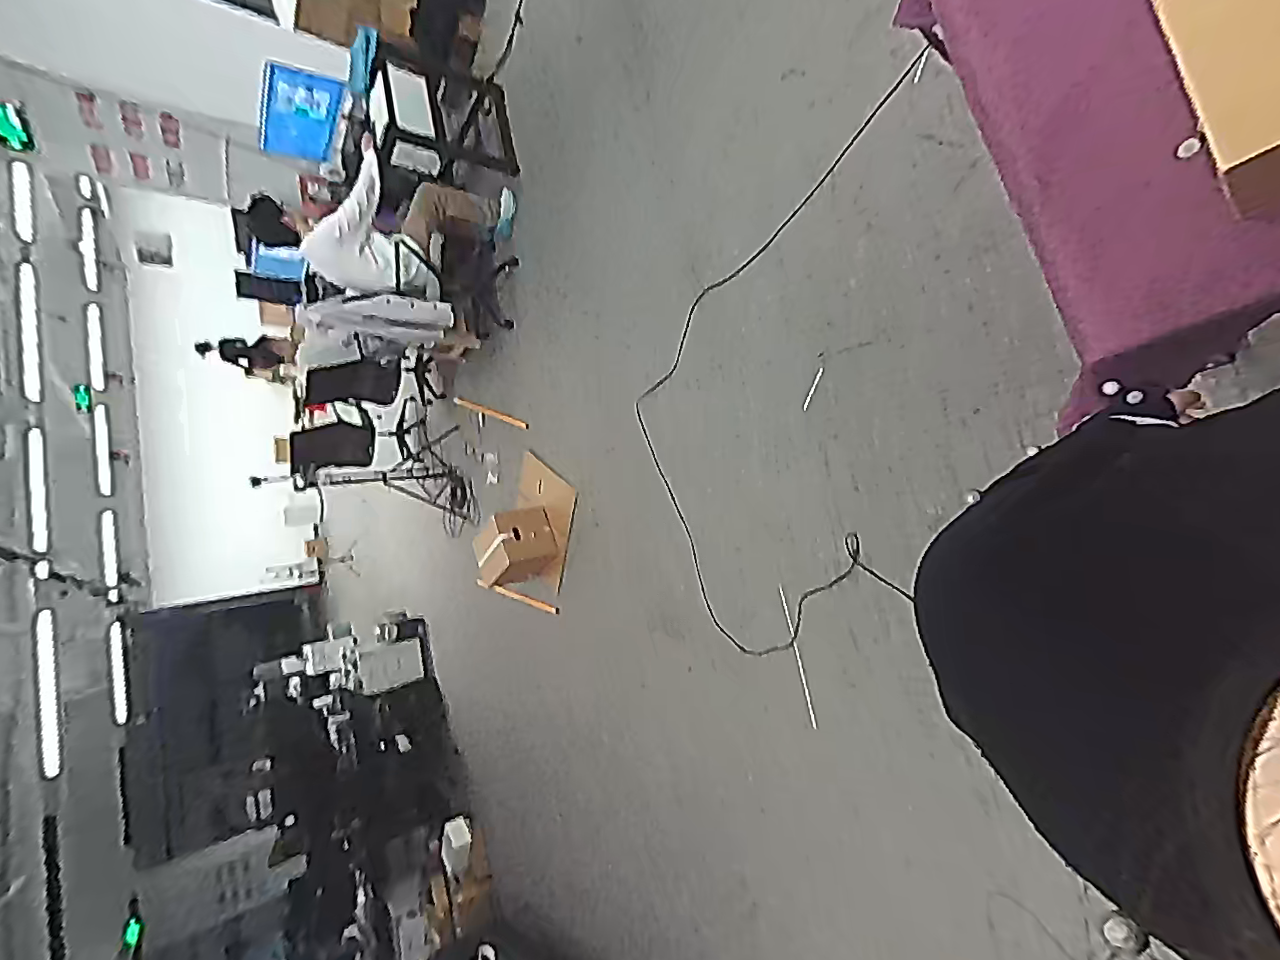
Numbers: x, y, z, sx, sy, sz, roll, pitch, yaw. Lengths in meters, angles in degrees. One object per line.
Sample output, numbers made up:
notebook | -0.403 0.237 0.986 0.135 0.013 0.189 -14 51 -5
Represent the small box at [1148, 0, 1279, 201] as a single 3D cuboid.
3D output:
small box | 0.558 -0.355 0.435 0.168 0.176 0.179 -21 78 50
